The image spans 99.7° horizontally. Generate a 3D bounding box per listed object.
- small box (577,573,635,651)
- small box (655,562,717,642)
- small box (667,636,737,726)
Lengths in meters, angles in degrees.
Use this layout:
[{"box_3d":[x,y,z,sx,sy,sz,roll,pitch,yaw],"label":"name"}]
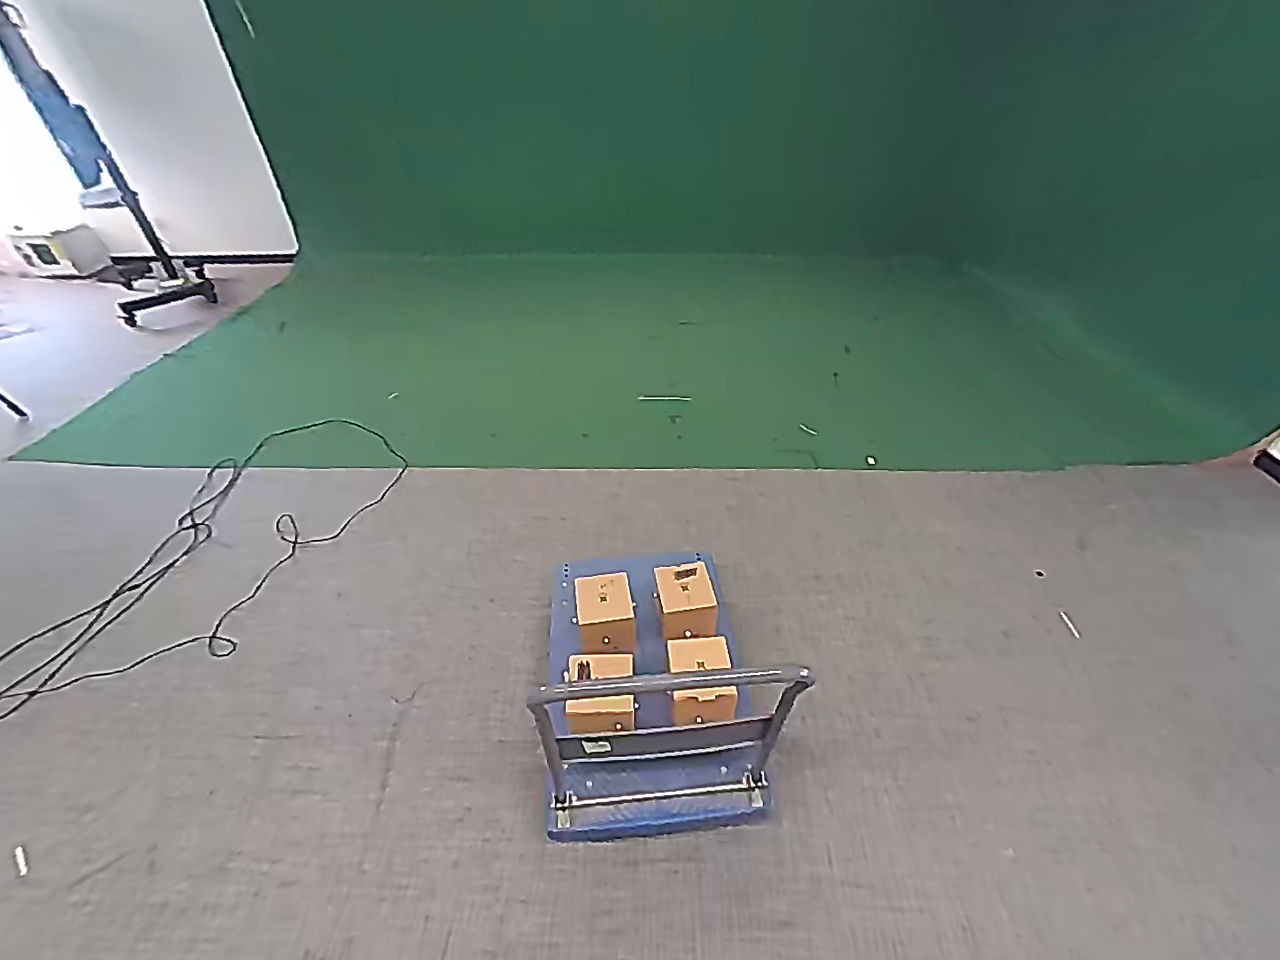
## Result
[{"box_3d":[-0.107,0.419,1.699,0.168,0.176,0.179,-6,41,-7],"label":"small box"},{"box_3d":[0.141,0.390,1.728,0.168,0.176,0.179,-7,42,-6],"label":"small box"},{"box_3d":[0.167,0.566,1.524,0.168,0.176,0.179,-3,41,-3],"label":"small box"}]
